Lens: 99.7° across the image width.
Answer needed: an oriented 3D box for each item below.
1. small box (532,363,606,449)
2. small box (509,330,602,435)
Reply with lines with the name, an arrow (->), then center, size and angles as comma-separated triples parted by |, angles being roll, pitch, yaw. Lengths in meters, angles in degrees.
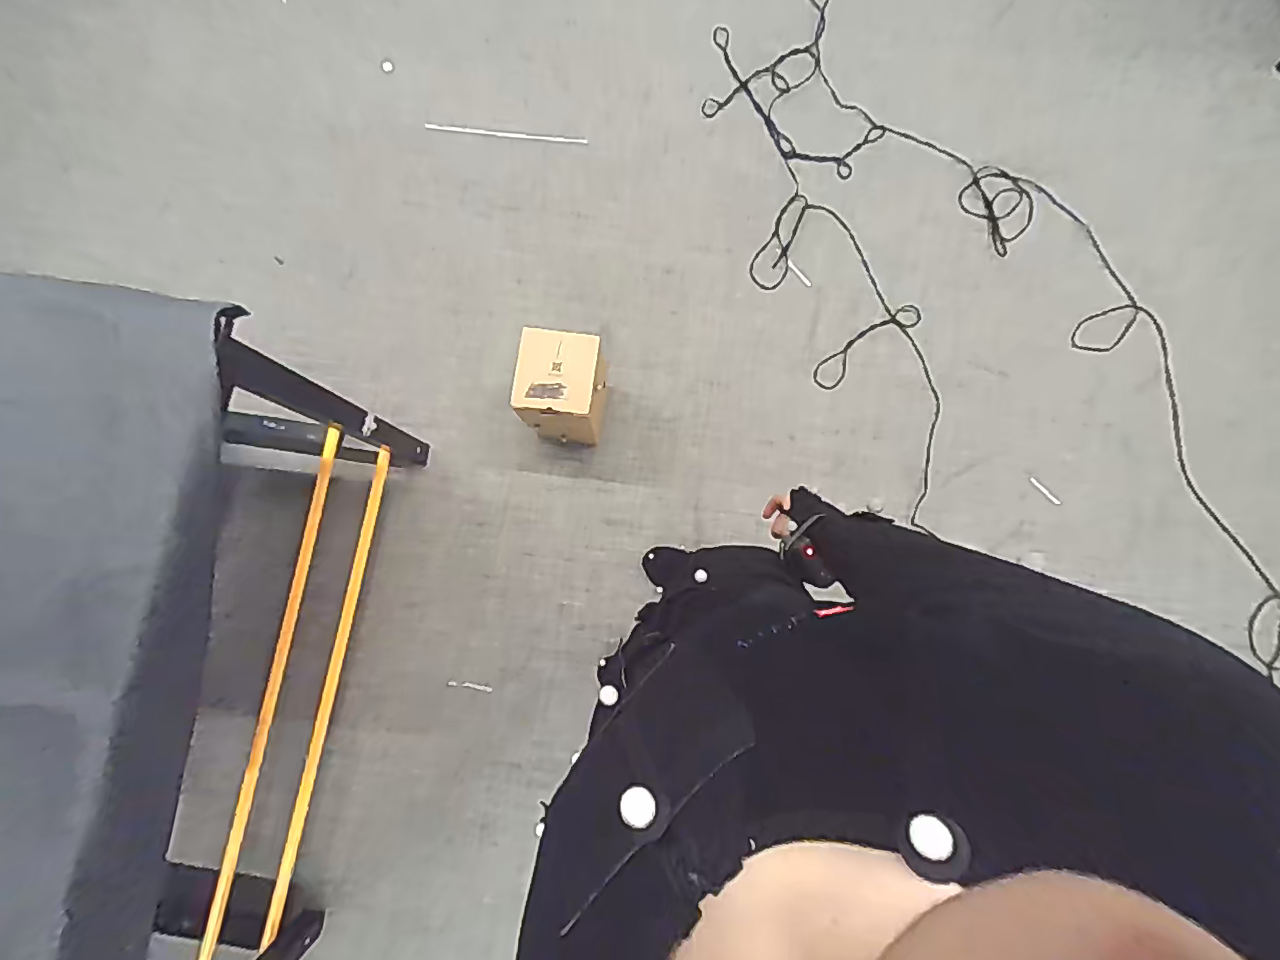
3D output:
small box -> -0.179, -0.192, 1.350 | 0.168, 0.176, 0.179 | 9, 80, 2
small box -> -0.176, -0.205, 1.186 | 0.168, 0.176, 0.179 | 7, 80, 1
